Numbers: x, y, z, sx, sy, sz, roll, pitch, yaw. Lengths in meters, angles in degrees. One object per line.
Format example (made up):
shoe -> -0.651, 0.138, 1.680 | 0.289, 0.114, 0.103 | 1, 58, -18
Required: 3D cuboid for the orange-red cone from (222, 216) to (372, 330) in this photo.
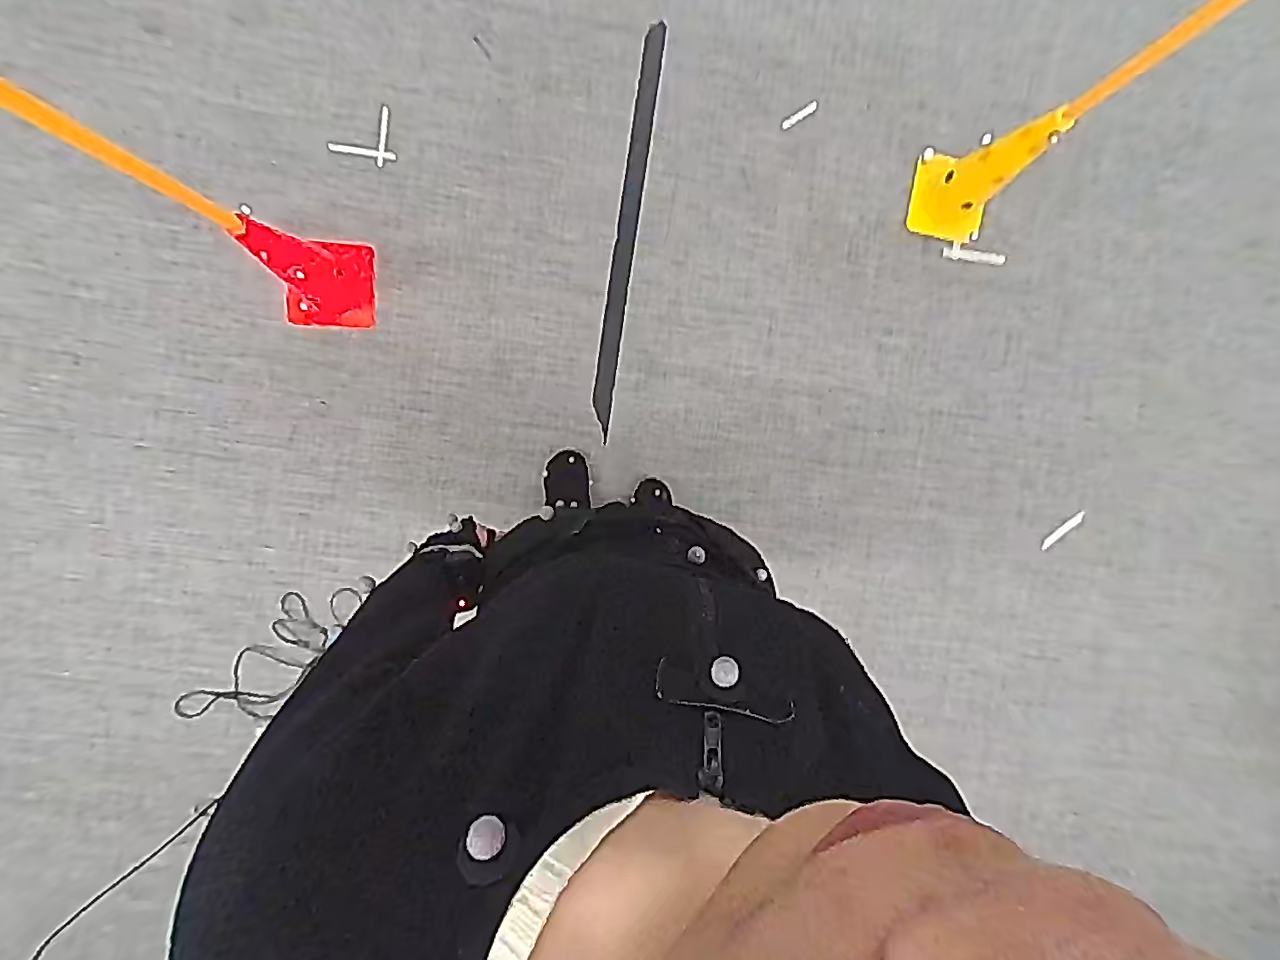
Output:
orange-red cone -> -0.715, -0.448, 1.101 | 0.199, 0.360, 0.198 | 3, 93, -7
